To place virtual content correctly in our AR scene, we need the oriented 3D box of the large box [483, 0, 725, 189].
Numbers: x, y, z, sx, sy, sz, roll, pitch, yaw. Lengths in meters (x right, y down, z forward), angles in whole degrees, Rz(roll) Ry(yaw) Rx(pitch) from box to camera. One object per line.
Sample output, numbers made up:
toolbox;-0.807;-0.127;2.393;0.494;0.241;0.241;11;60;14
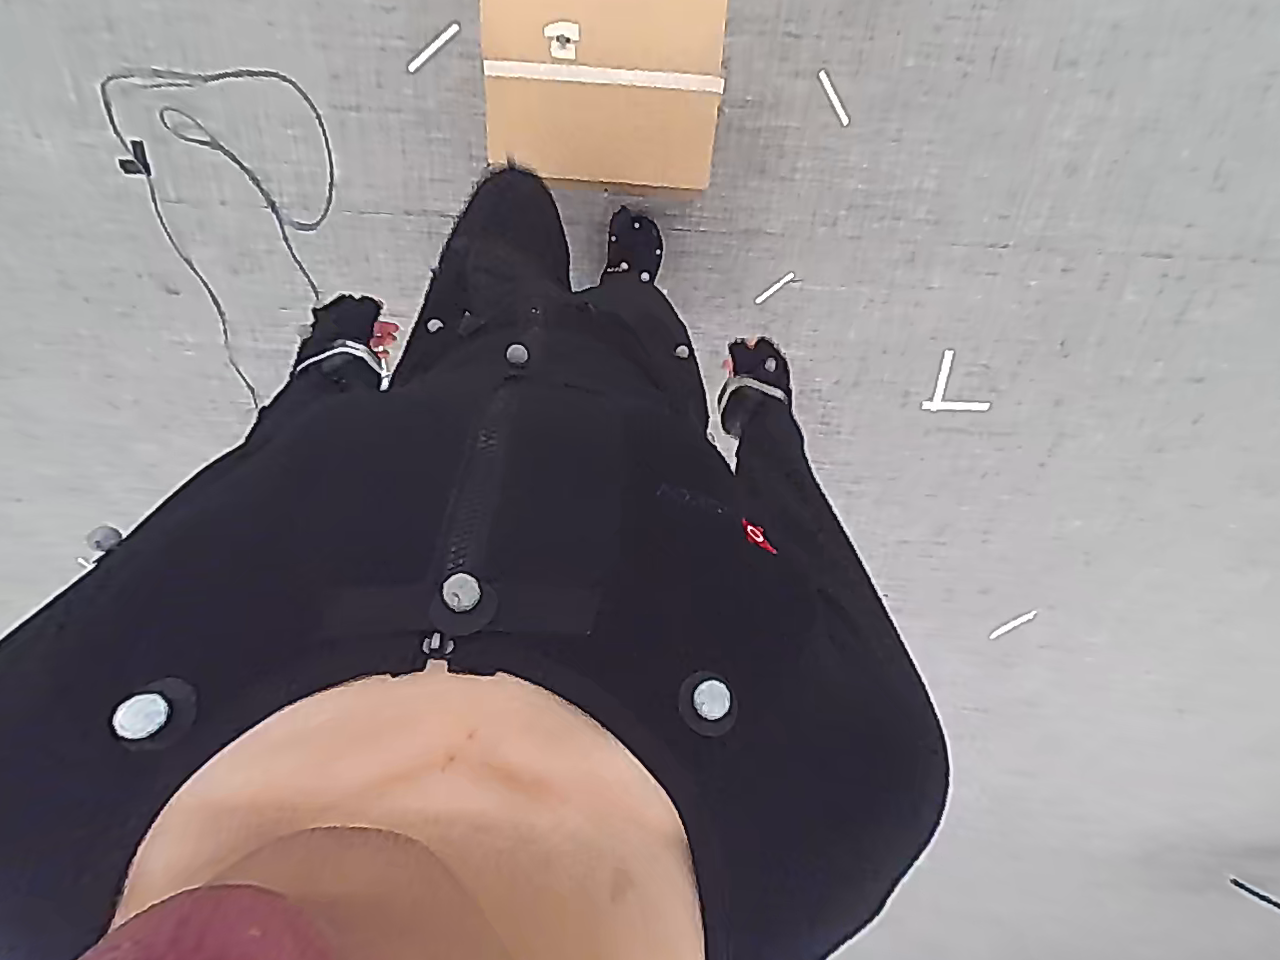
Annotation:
large box;-0.058;-0.756;1.054;0.408;0.320;0.320;4;115;0
